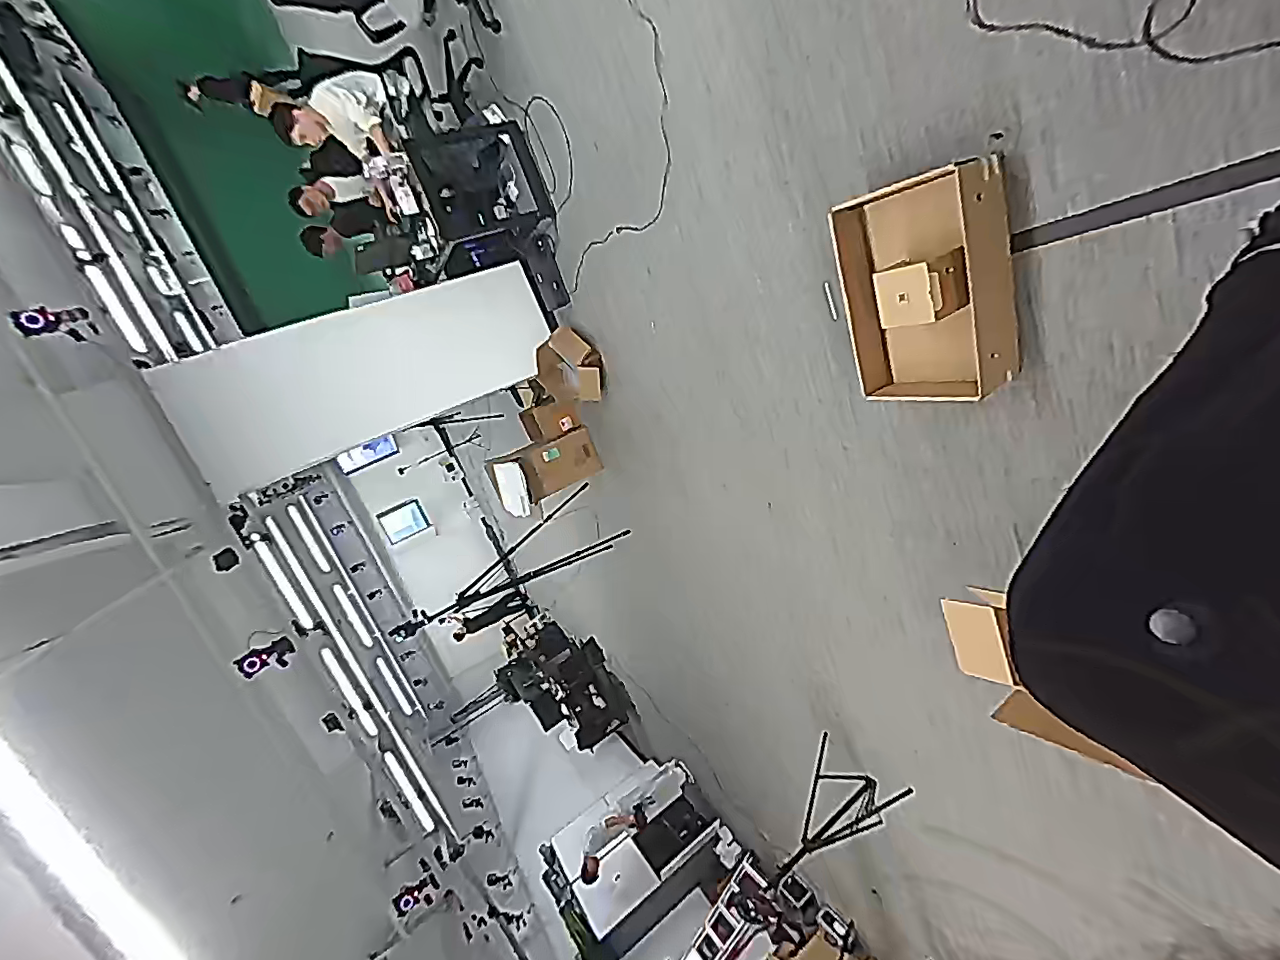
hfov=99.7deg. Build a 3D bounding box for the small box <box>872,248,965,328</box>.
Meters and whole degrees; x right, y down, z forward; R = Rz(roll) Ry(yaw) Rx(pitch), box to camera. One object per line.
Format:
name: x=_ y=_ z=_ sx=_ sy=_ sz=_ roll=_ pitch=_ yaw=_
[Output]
small box: x=0.808 y=-0.552 z=1.558 sx=0.179 sy=0.176 sz=0.168 roll=16 pitch=129 yaw=59
